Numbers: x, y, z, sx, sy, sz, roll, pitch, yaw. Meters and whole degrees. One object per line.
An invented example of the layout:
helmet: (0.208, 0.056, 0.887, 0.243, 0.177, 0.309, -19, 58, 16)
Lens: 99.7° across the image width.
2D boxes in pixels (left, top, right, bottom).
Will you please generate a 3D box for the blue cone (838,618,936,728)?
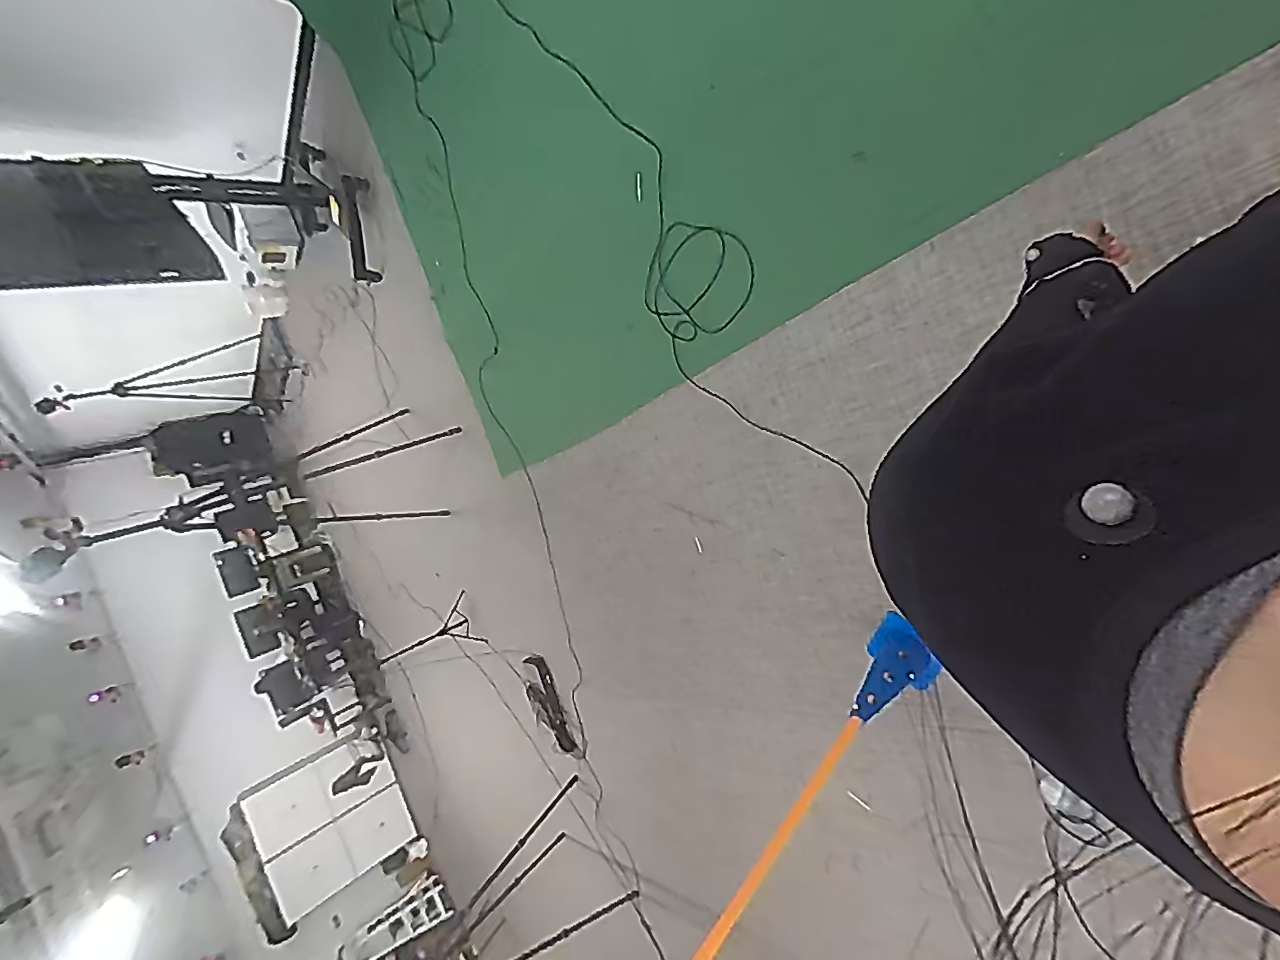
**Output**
blue cone: (0.682, 0.590, 1.555, 0.192, 0.380, 0.193, 34, 131, 31)
